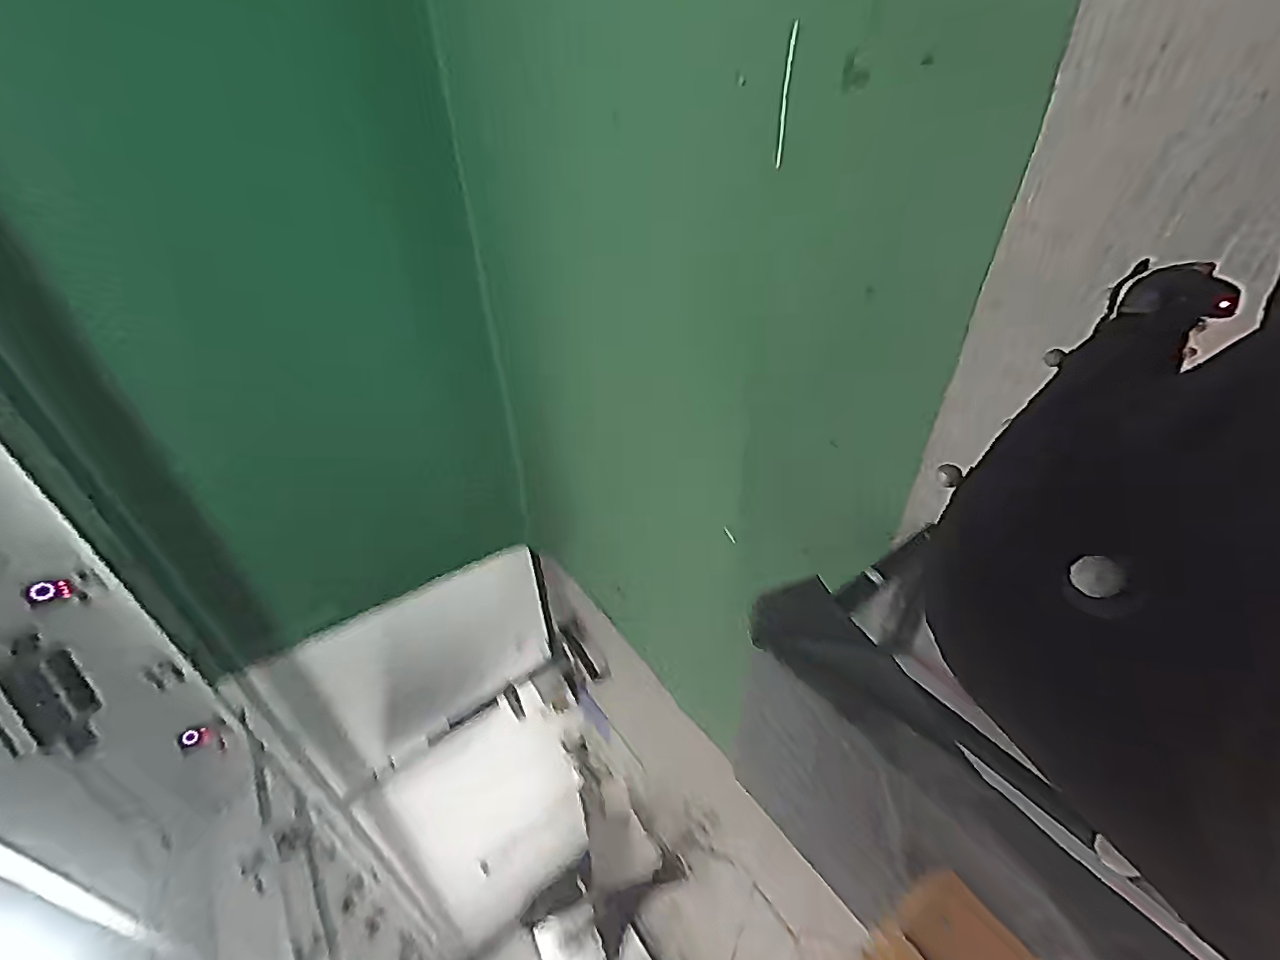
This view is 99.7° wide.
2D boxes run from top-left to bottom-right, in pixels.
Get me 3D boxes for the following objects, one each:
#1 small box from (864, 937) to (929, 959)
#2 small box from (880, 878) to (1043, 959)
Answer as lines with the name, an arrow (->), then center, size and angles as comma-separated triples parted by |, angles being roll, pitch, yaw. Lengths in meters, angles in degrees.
small box -> 0.422, 0.881, 0.853 | 0.179, 0.176, 0.168 | 45, 147, 34
small box -> 0.554, 0.837, 0.940 | 0.179, 0.176, 0.168 | 43, 146, 35
